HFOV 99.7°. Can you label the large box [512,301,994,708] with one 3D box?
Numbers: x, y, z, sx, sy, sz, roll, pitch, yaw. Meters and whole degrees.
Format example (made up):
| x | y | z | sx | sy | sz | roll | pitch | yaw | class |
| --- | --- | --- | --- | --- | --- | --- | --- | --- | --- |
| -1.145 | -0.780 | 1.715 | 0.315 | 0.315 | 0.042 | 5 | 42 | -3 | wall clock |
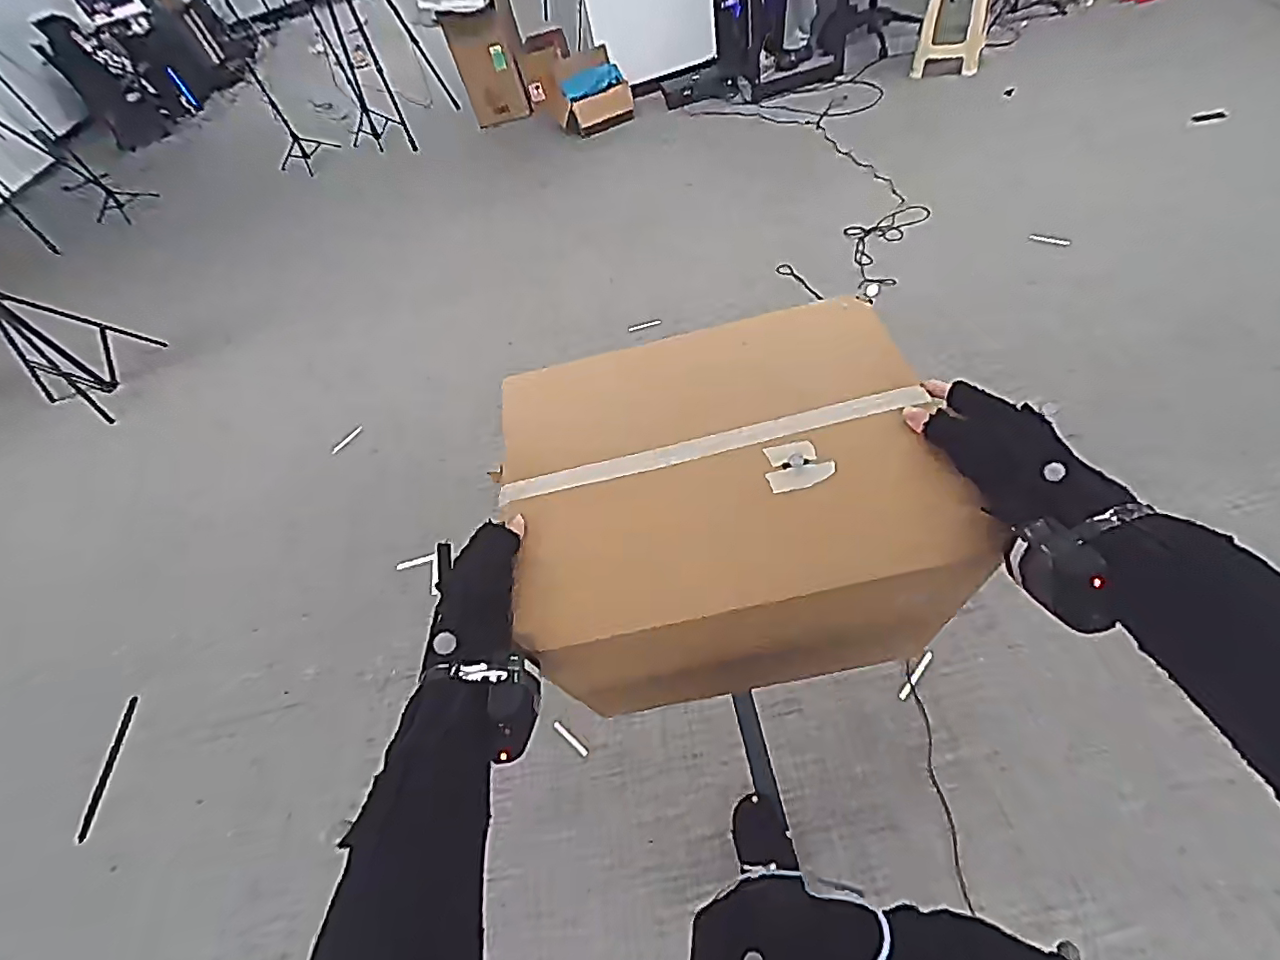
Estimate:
| x | y | z | sx | sy | sz | roll | pitch | yaw | class |
| --- | --- | --- | --- | --- | --- | --- | --- | --- | --- |
| 0.094 | 0.048 | 0.648 | 0.408 | 0.320 | 0.320 | -13 | 57 | 3 | large box |
